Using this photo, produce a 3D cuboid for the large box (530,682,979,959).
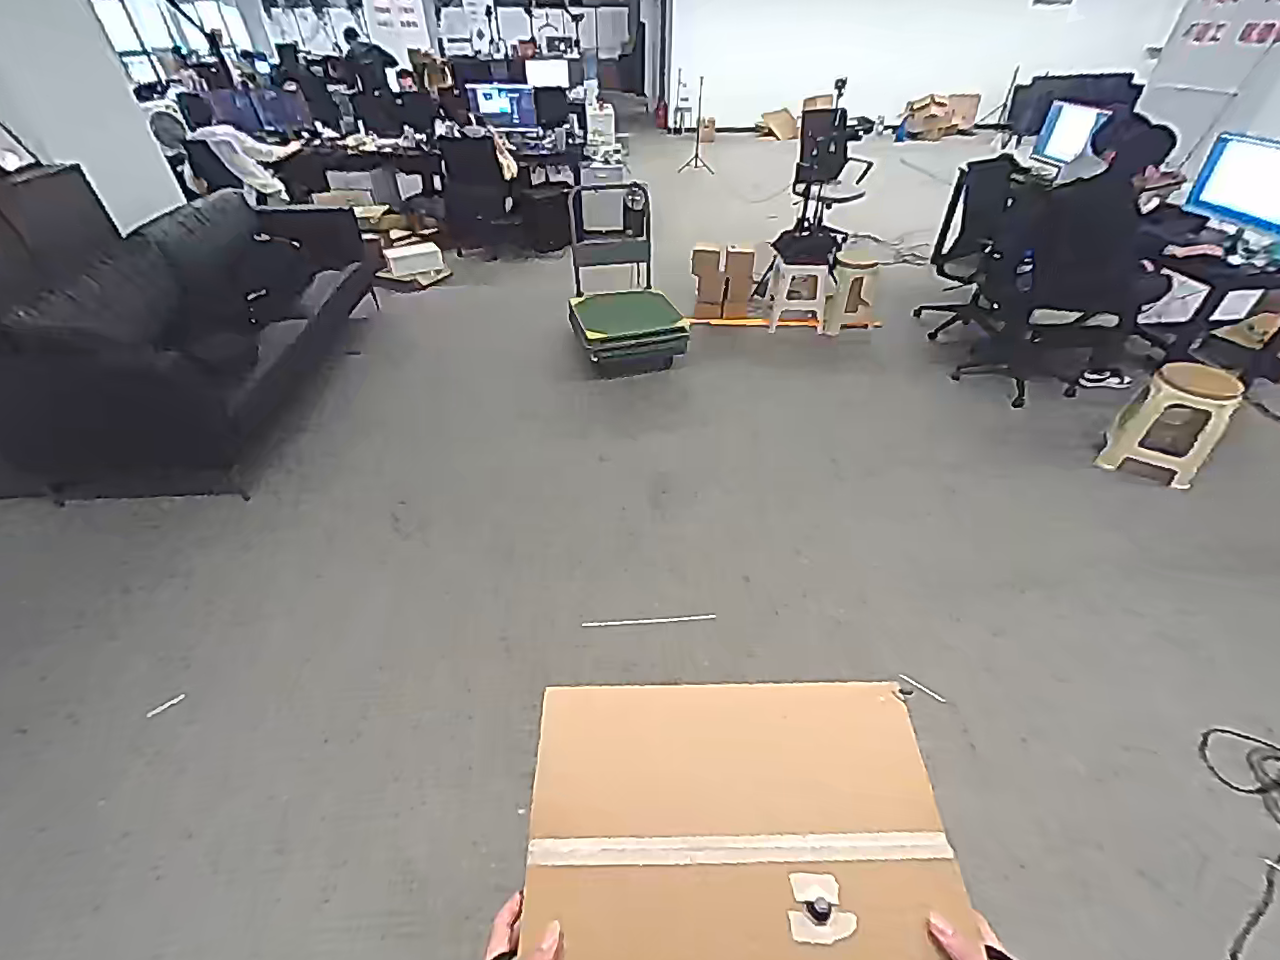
[{"bbox_3d":[0.098,0.454,0.641,0.408,0.320,0.320,-1,51,0],"label":"large box"}]
